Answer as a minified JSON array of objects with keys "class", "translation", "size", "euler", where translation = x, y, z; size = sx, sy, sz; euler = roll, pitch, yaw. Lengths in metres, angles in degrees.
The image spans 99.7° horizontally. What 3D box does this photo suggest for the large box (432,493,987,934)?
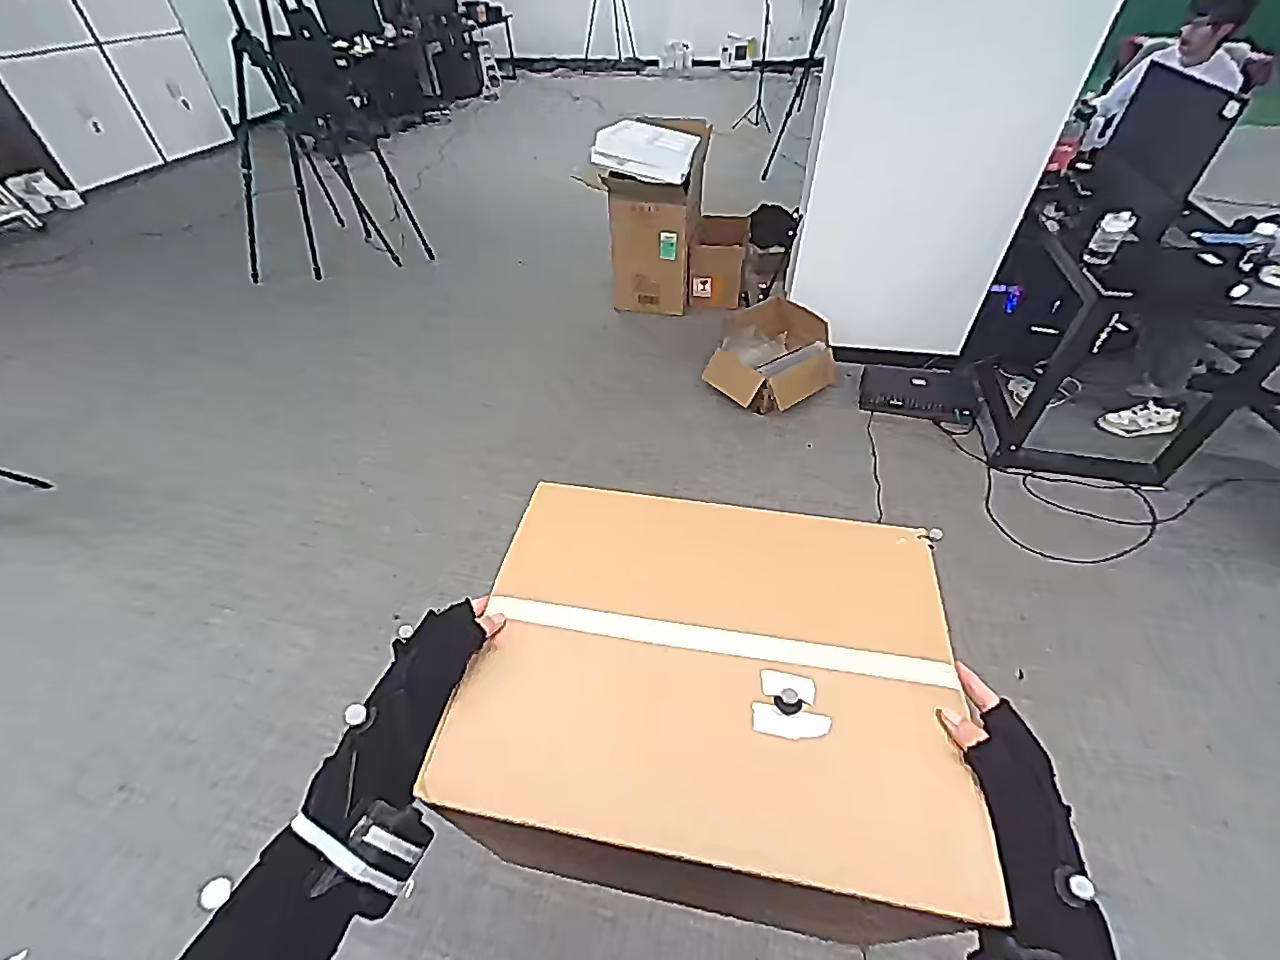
[{"class":"large box","translation":[0.063,0.246,0.588],"size":[0.408,0.320,0.320],"euler":[7,48,8]}]
